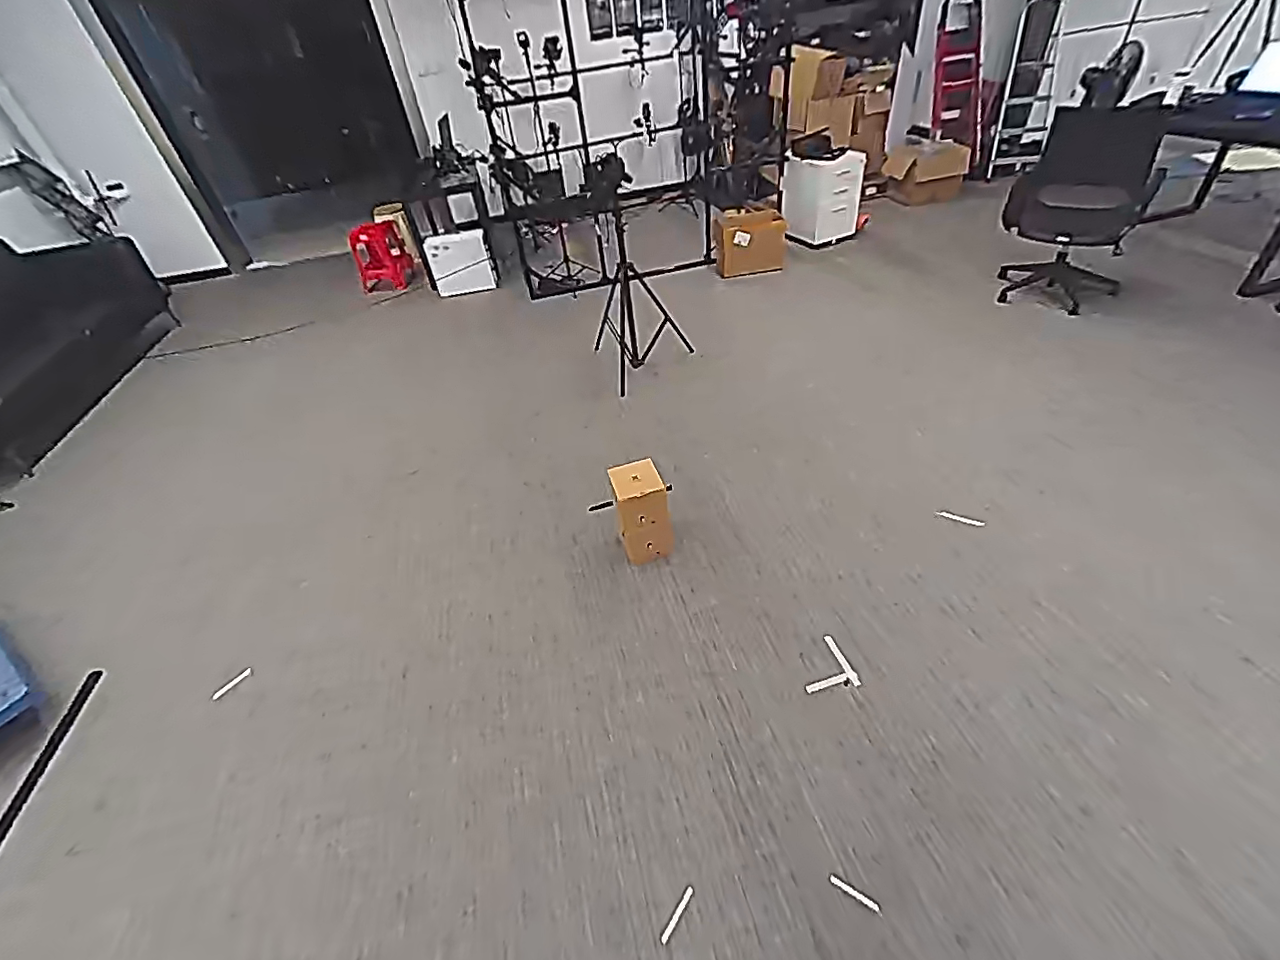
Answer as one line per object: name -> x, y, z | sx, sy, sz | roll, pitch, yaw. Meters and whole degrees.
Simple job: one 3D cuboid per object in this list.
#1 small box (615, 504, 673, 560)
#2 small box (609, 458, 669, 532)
small box -> 0.017, 0.178, 2.019 | 0.168, 0.176, 0.179 | -16, 40, -9
small box -> -0.002, 0.054, 1.914 | 0.168, 0.176, 0.179 | -16, 41, -8
